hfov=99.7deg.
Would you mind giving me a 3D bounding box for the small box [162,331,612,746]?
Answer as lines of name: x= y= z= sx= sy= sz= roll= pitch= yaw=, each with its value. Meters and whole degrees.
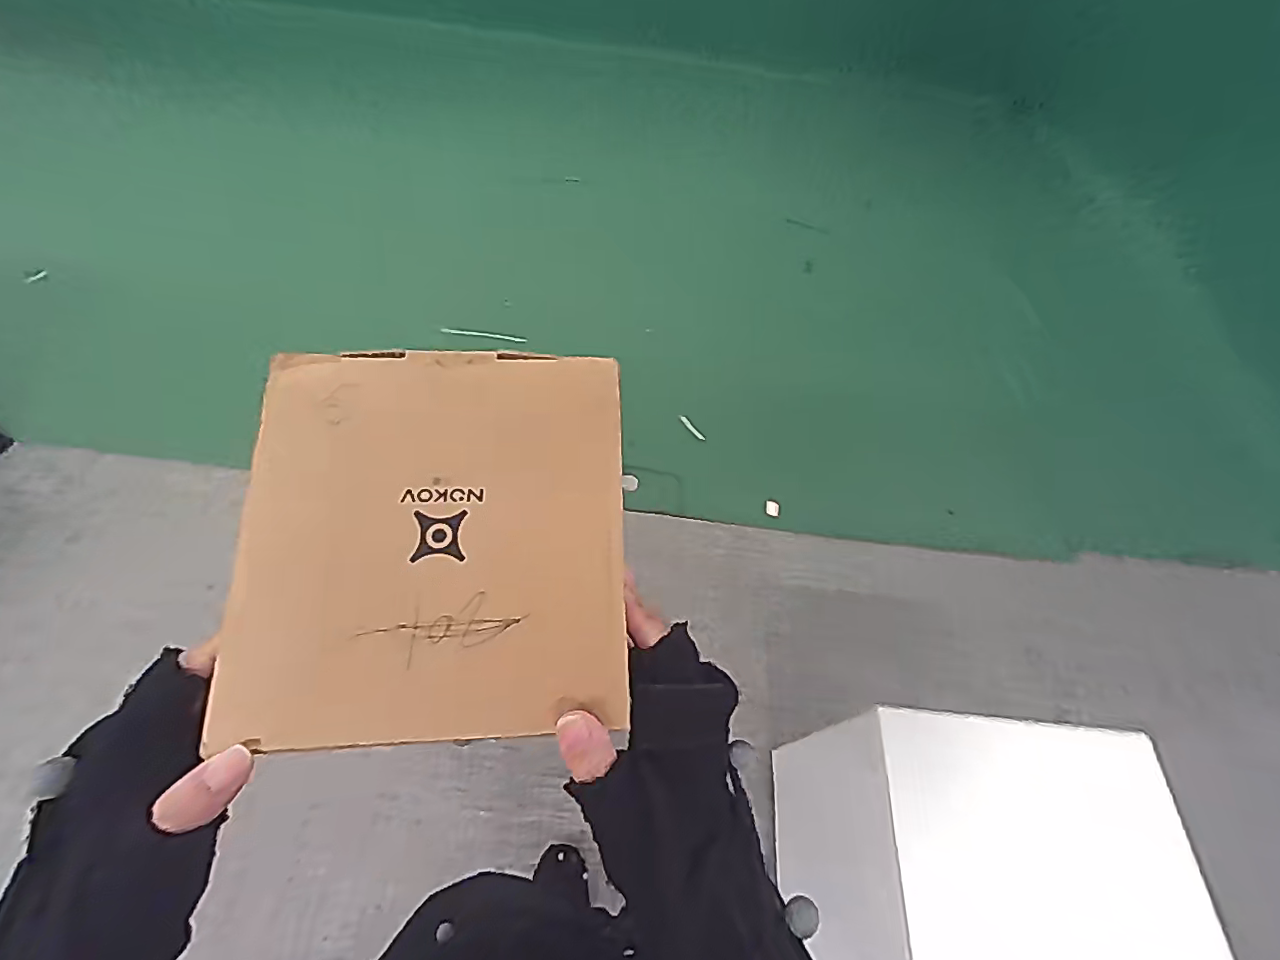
small box: x=-0.105 y=0.038 z=0.305 sx=0.168 sy=0.176 sz=0.179 roll=-2 pitch=73 yaw=-6
